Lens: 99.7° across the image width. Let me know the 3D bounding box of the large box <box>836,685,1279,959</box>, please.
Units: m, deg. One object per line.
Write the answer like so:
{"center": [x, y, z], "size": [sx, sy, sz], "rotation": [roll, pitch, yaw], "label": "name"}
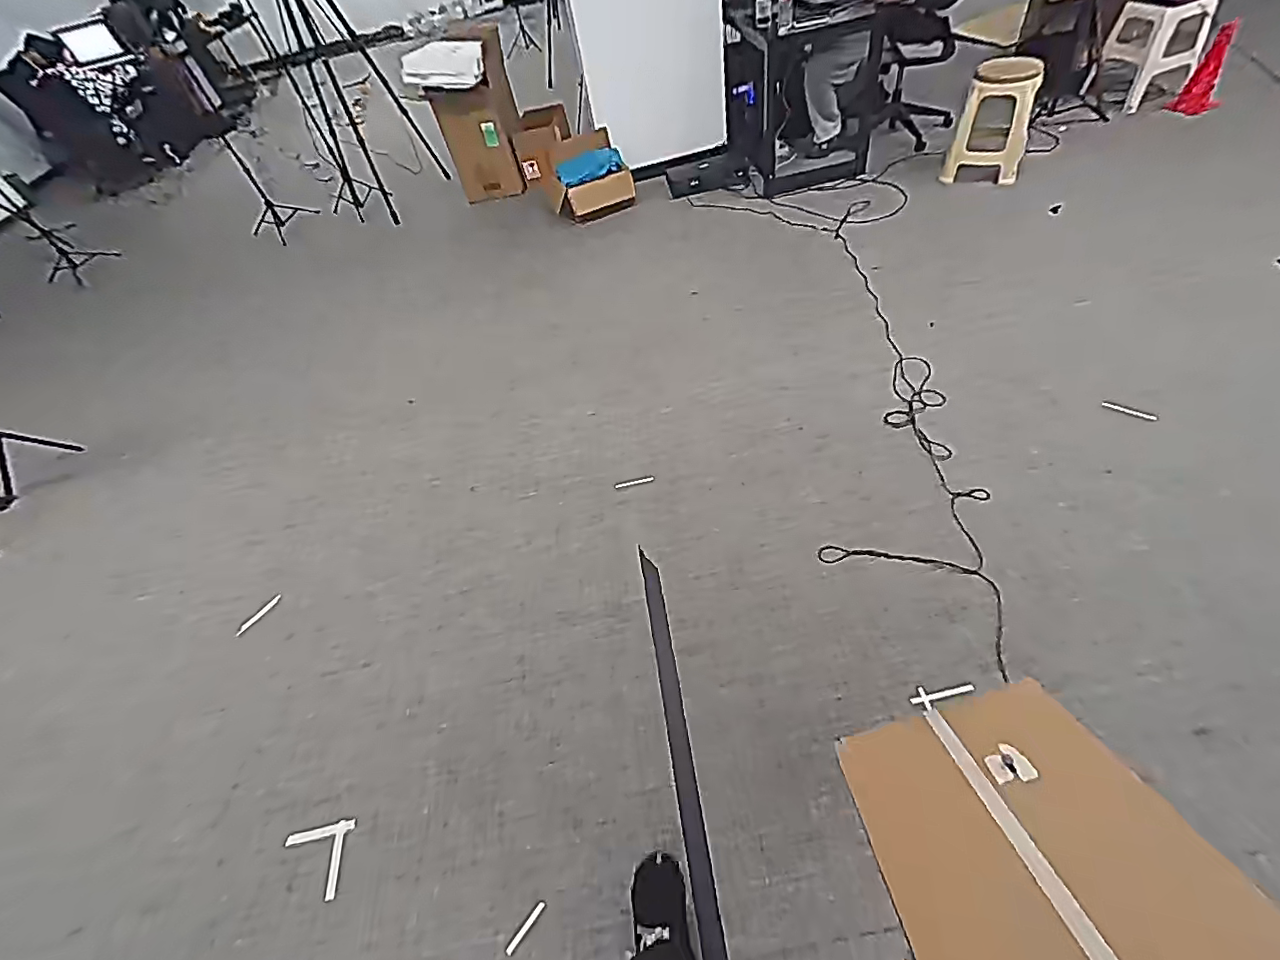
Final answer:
{"center": [0.503, 0.548, 0.681], "size": [0.320, 0.320, 0.408], "rotation": [-22, 11, 9], "label": "large box"}
